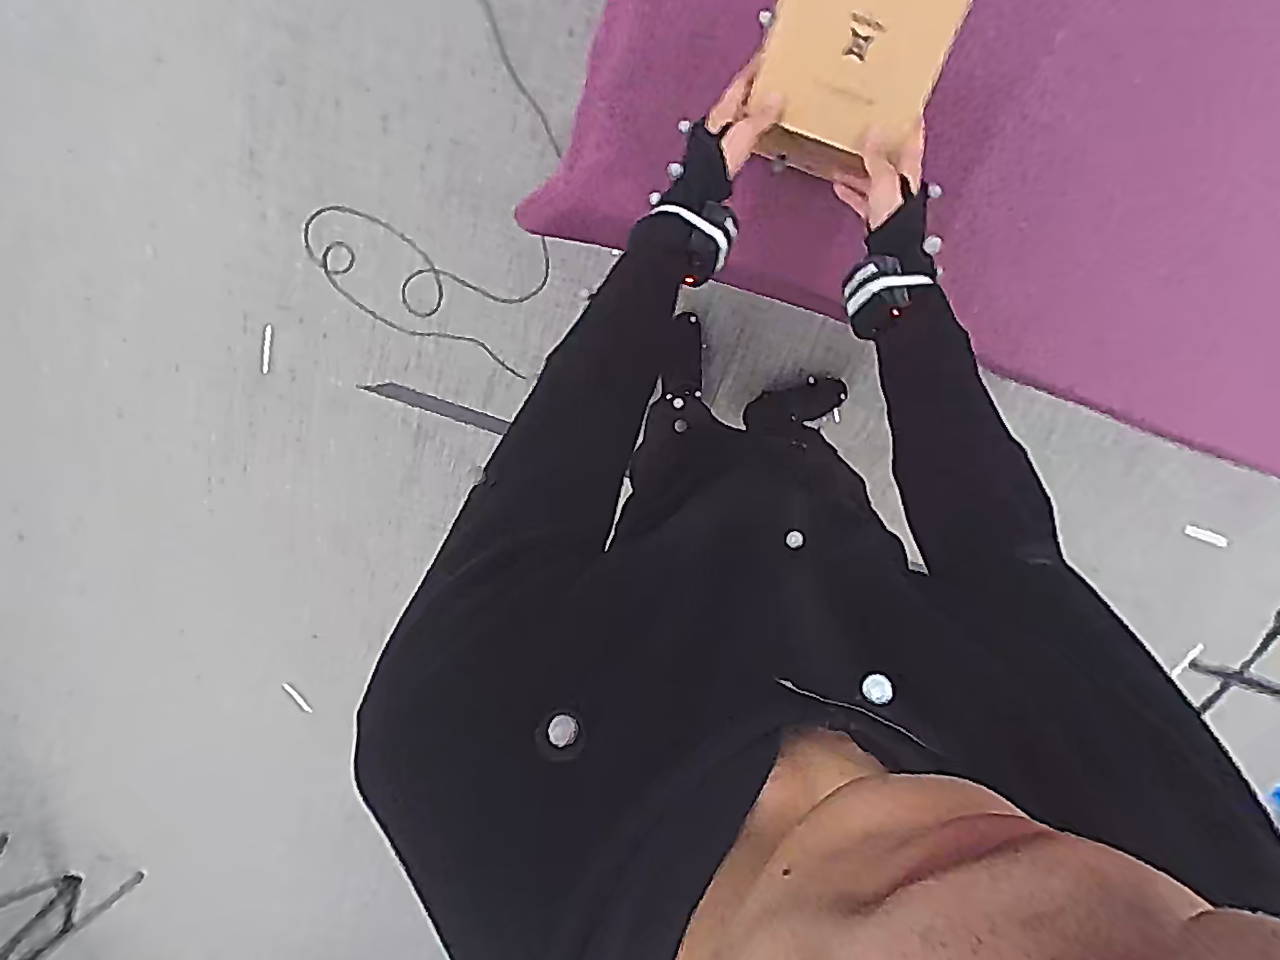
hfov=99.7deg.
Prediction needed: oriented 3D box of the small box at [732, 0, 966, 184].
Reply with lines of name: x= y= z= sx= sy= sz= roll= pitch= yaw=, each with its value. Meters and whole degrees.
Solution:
small box: x=0.206 y=-0.442 z=0.578 sx=0.168 sy=0.176 sz=0.179 roll=18 pitch=113 yaw=-3
